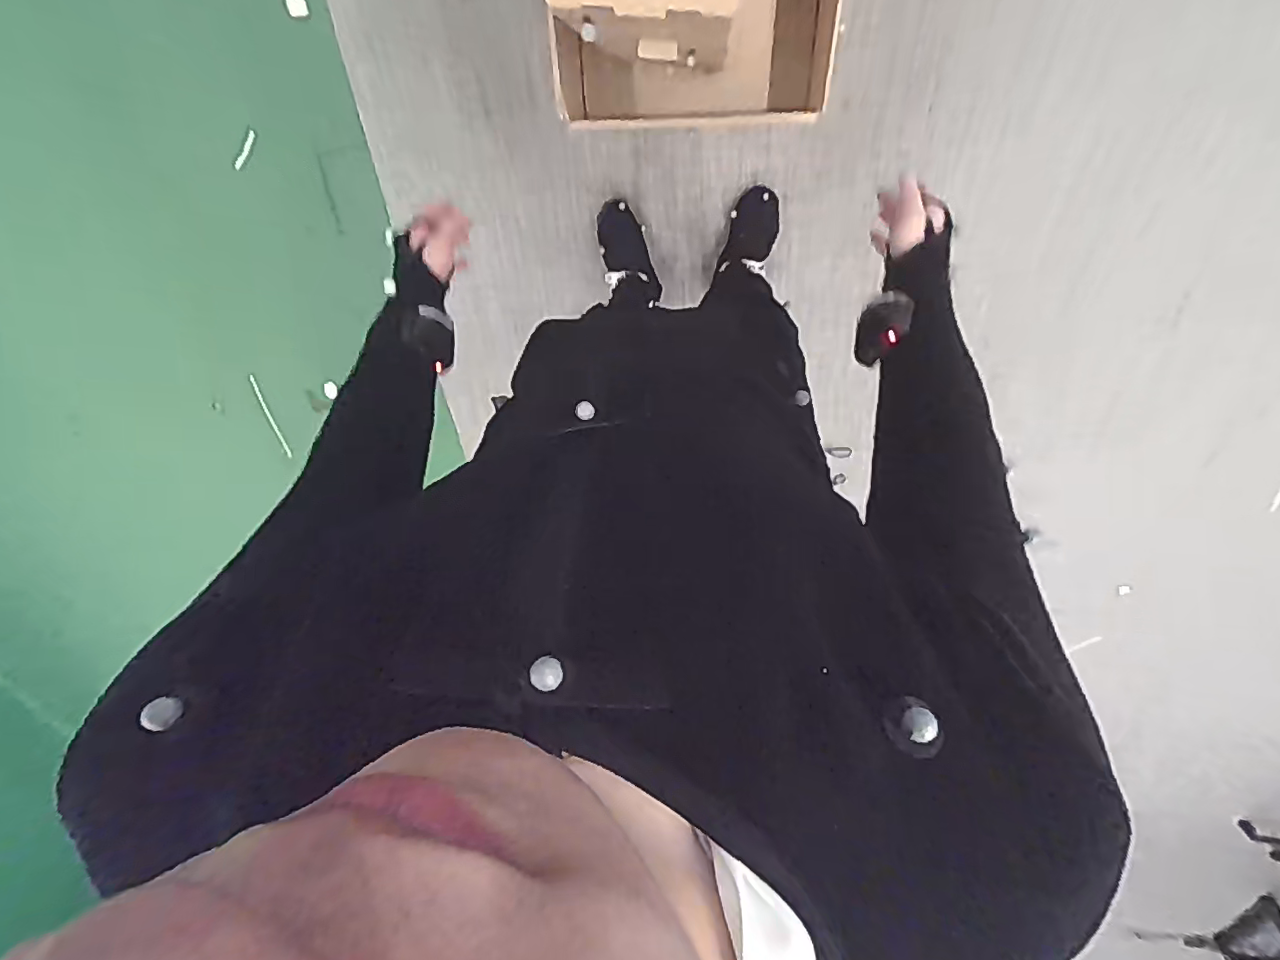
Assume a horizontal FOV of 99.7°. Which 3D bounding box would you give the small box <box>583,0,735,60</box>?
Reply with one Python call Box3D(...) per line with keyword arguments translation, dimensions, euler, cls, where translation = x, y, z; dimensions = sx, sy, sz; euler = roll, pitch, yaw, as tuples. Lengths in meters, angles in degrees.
Box3D(translation=(0.032, -0.602, 0.619), dimensions=(0.168, 0.176, 0.179), euler=(6, 122, 3), cls="small box")
